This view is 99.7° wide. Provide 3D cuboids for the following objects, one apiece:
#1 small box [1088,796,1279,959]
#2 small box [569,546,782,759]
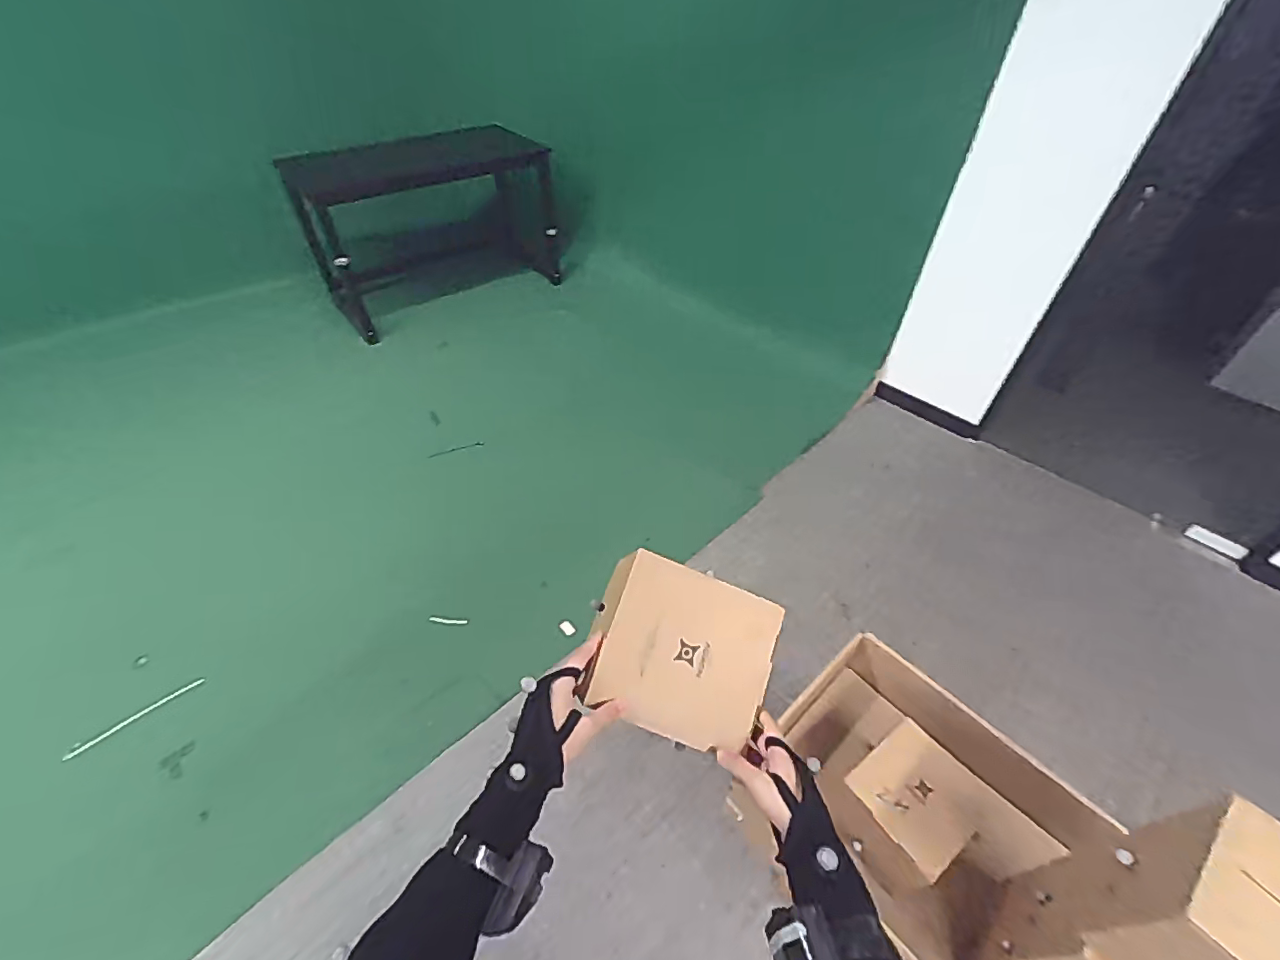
[{"bbox_3d":[0.608,0.459,0.530,0.168,0.176,0.179,-29,52,-26],"label":"small box"},{"bbox_3d":[0.031,0.190,0.625,0.179,0.176,0.168,23,72,-5],"label":"small box"}]
